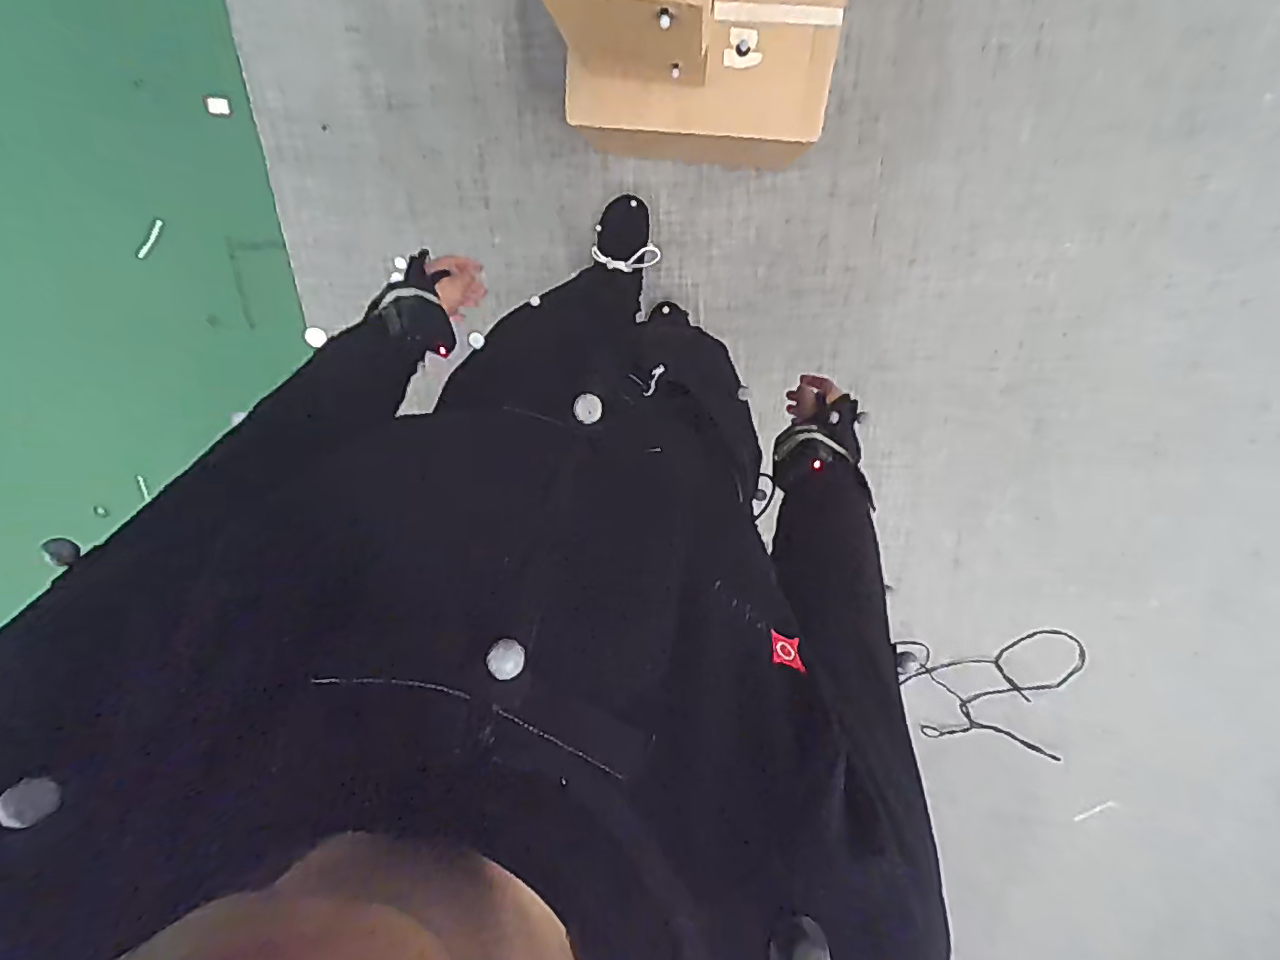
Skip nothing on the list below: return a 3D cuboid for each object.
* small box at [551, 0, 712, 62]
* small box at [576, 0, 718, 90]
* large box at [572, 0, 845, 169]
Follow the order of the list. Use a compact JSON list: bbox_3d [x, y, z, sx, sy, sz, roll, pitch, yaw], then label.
[{"bbox_3d":[-0.005,-0.573,0.570,0.179,0.176,0.168,7,112,1],"label":"small box"},{"bbox_3d":[0.015,-0.641,0.717,0.179,0.176,0.168,6,112,4],"label":"small box"},{"bbox_3d":[0.105,-0.739,0.930,0.408,0.320,0.320,5,114,2],"label":"large box"}]
